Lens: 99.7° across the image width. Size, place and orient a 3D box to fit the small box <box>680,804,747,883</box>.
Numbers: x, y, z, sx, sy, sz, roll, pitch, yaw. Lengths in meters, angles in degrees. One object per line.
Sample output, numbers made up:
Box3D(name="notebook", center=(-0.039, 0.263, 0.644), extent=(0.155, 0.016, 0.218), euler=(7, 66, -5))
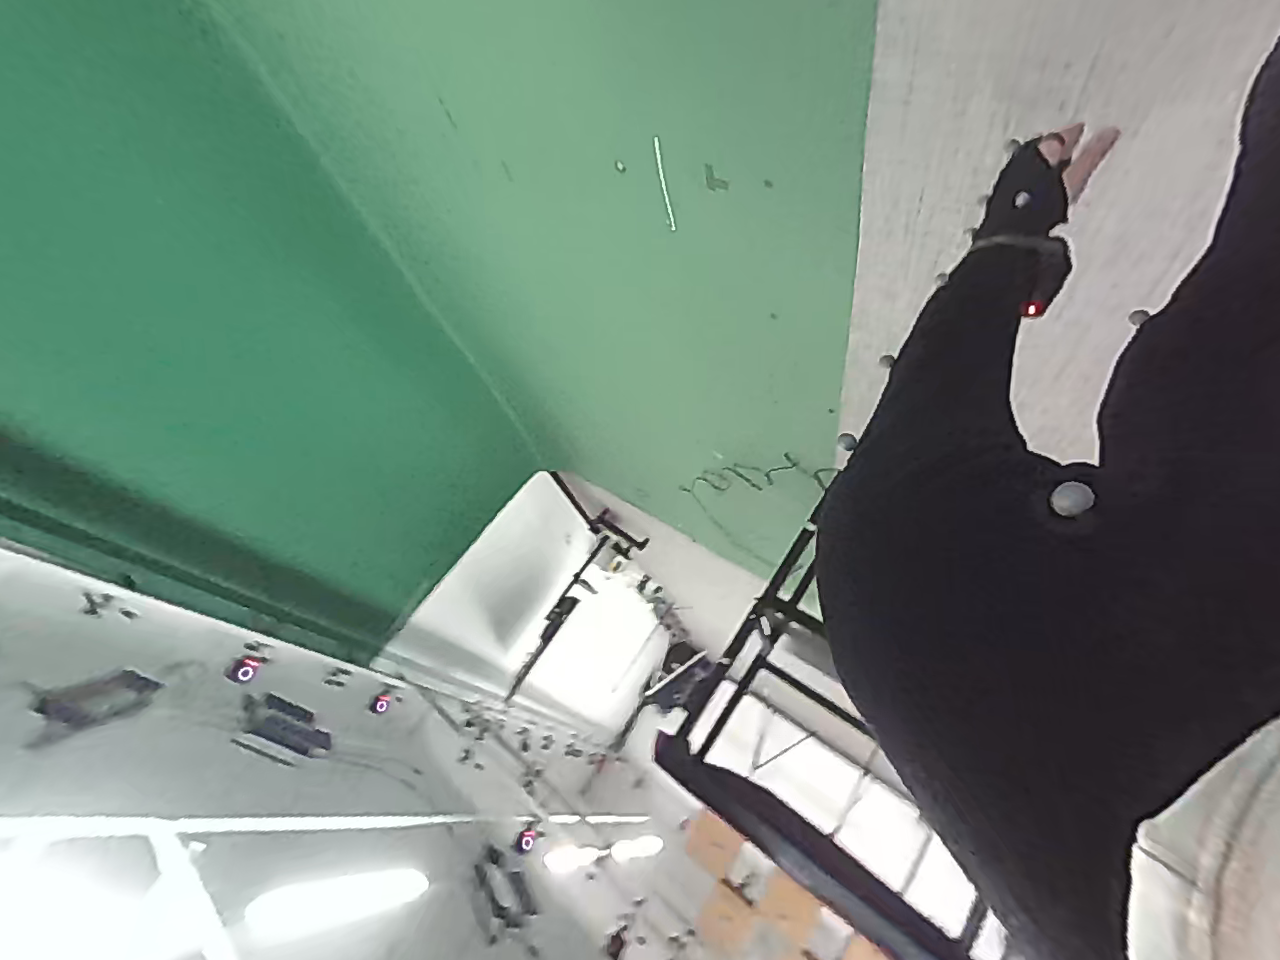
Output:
Box3D(name="small box", center=(0.273, 1.294, 1.936), extent=(0.179, 0.176, 0.168), euler=(25, 158, 29))

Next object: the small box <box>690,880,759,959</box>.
Box3D(name="small box", center=(0.293, 1.478, 1.815), extent=(0.168, 0.176, 0.179), euler=(26, 160, 30))

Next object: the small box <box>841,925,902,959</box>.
Box3D(name="small box", center=(0.711, 1.519, 1.657), extent=(0.168, 0.176, 0.179), euler=(27, 161, 31))

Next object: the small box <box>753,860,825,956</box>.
Box3D(name="small box", center=(0.499, 1.411, 1.795), extent=(0.179, 0.176, 0.168), euler=(28, 161, 29))

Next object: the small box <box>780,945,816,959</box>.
Box3D(name="small box", center=(0.507, 1.592, 1.689), extent=(0.179, 0.176, 0.168), euler=(26, 160, 31))
